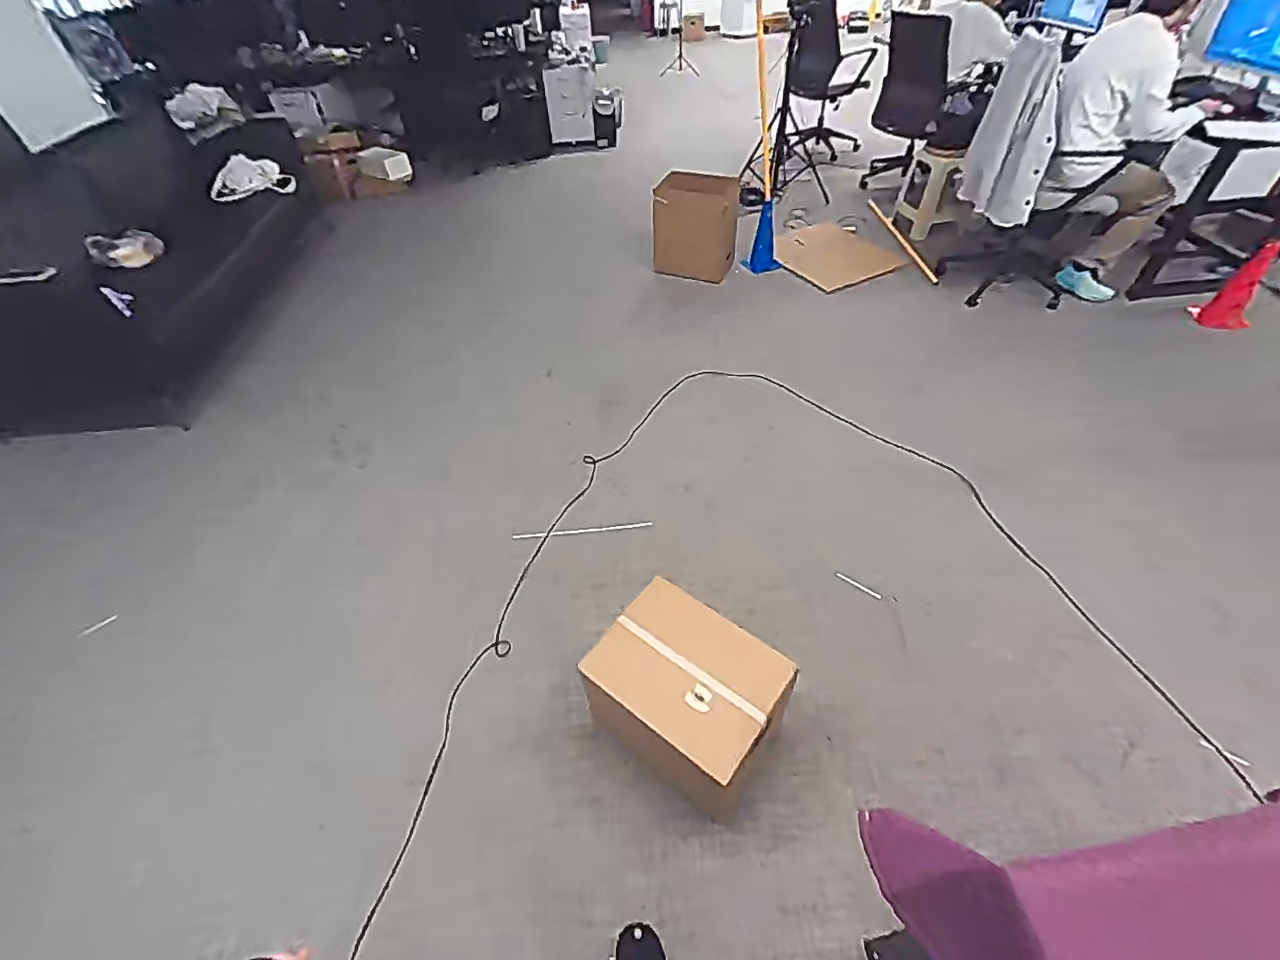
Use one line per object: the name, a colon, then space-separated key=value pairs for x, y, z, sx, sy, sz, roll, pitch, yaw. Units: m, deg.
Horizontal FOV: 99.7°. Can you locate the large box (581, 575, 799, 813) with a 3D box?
large box: x=0.114 y=0.516 z=1.330 sx=0.408 sy=0.320 sz=0.320 roll=29 pitch=56 yaw=27
